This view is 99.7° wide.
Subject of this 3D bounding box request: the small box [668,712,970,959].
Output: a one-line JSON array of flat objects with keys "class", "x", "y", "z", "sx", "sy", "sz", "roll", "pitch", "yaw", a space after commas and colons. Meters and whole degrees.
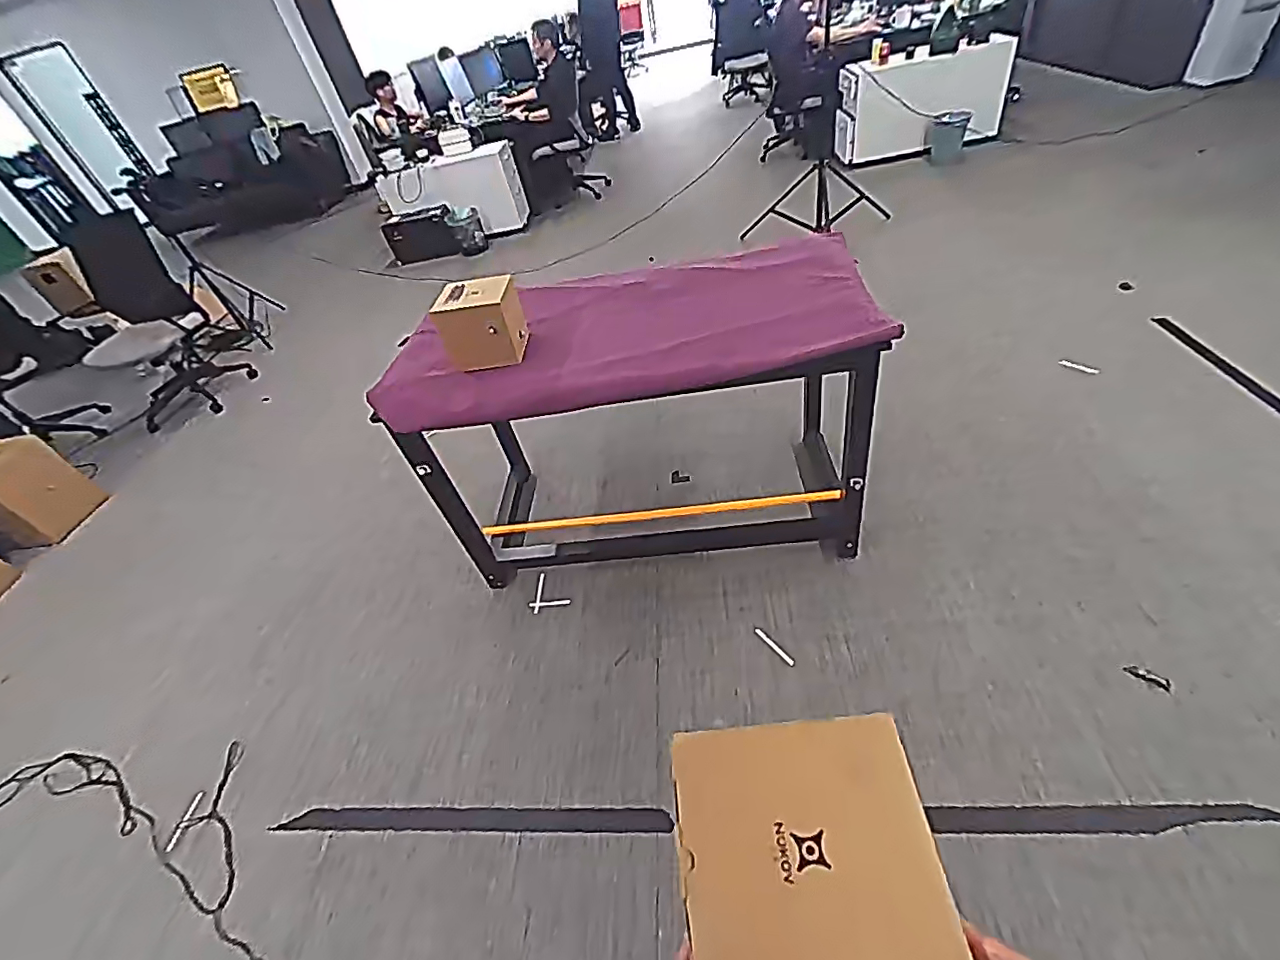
[{"class": "small box", "x": 0.126, "y": 0.300, "z": 0.437, "sx": 0.179, "sy": 0.176, "sz": 0.168, "roll": -10, "pitch": 52, "yaw": 7}]
